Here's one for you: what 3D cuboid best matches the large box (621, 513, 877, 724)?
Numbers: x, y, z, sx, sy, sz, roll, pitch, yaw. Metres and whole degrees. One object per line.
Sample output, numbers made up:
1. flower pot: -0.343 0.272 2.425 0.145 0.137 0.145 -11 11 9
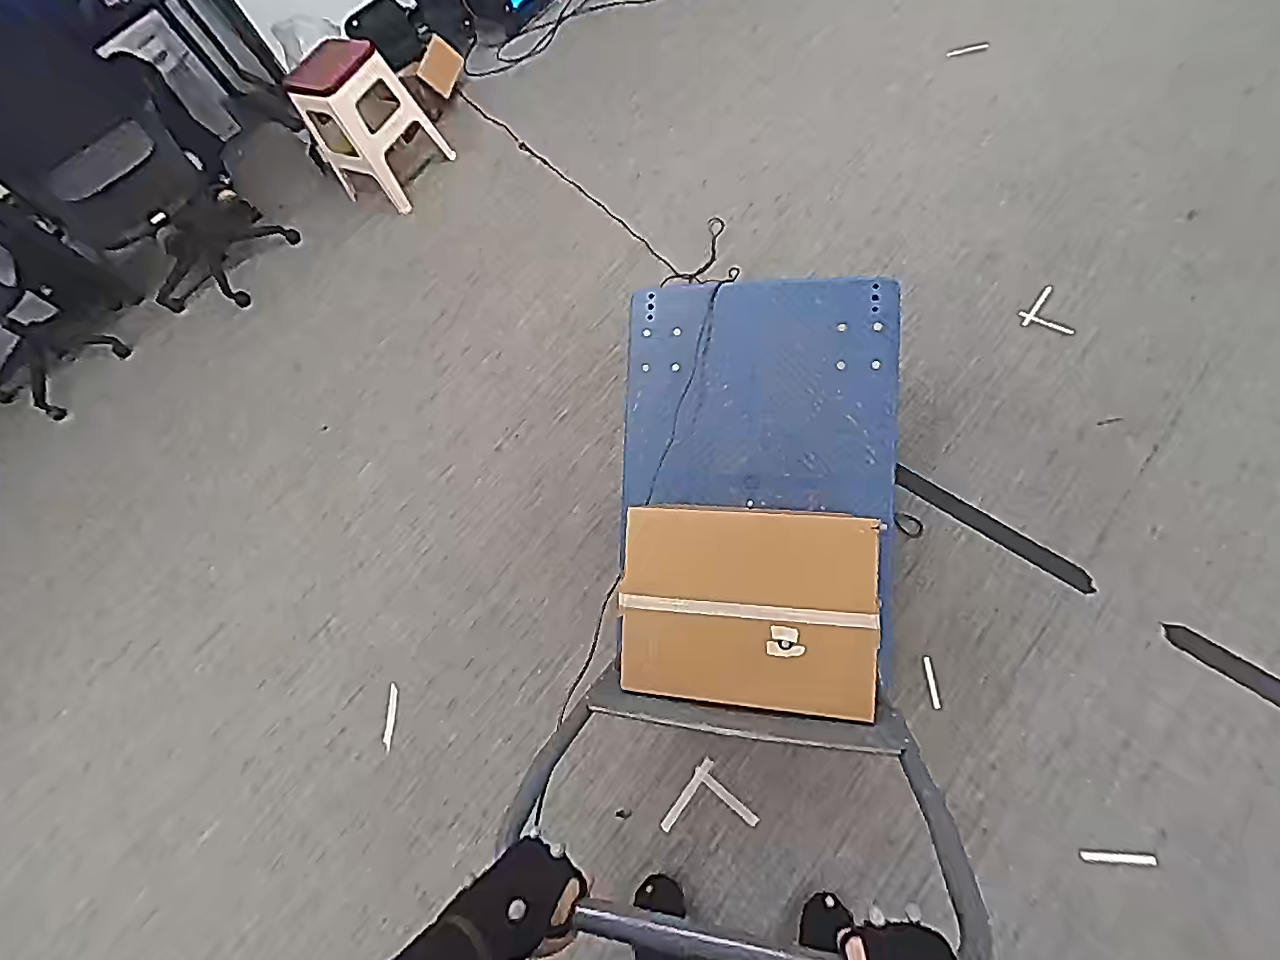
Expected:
1. large box: 0.195 0.220 1.009 0.408 0.320 0.320 2 89 13
